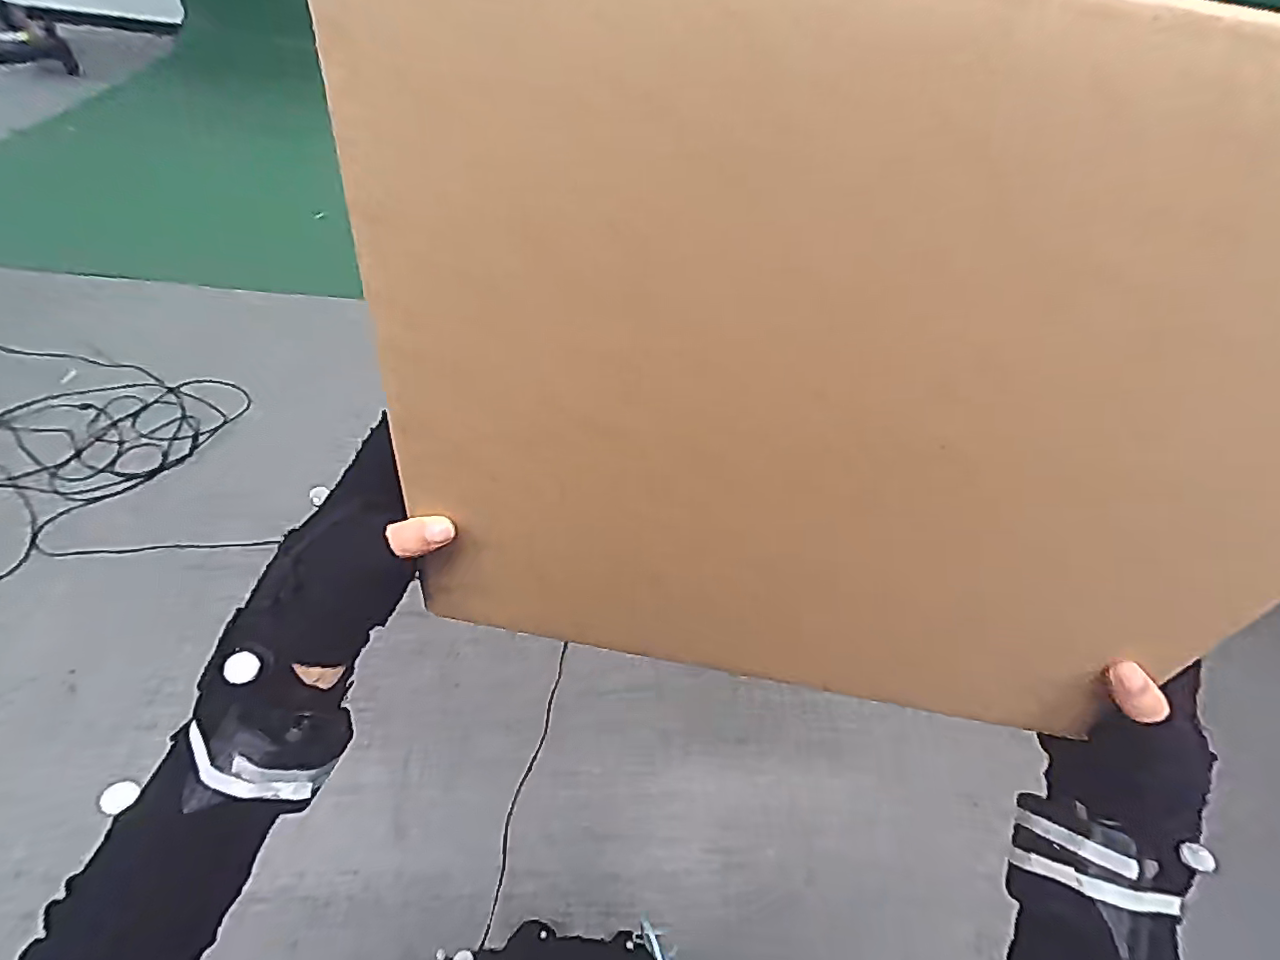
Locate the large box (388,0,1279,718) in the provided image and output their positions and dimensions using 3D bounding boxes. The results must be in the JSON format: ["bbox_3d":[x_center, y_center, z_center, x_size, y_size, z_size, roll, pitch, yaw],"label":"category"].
[{"bbox_3d":[0.112,-0.090,0.352,0.408,0.320,0.320,11,40,-1],"label":"large box"}]
